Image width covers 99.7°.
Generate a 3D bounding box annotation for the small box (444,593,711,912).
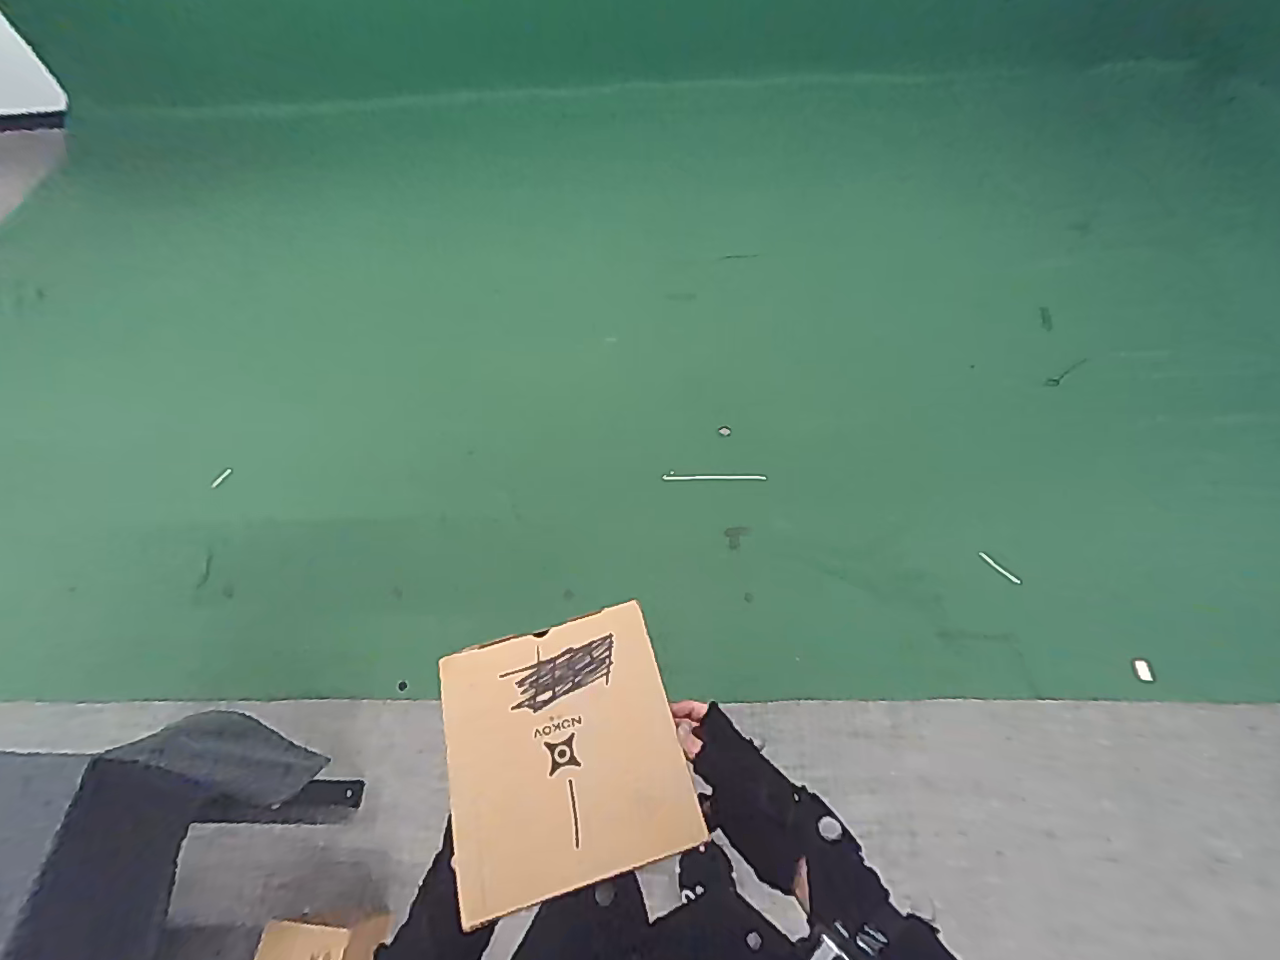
[{"bbox_3d":[-0.050,0.223,0.450,0.168,0.176,0.179,-15,56,-6],"label":"small box"}]
